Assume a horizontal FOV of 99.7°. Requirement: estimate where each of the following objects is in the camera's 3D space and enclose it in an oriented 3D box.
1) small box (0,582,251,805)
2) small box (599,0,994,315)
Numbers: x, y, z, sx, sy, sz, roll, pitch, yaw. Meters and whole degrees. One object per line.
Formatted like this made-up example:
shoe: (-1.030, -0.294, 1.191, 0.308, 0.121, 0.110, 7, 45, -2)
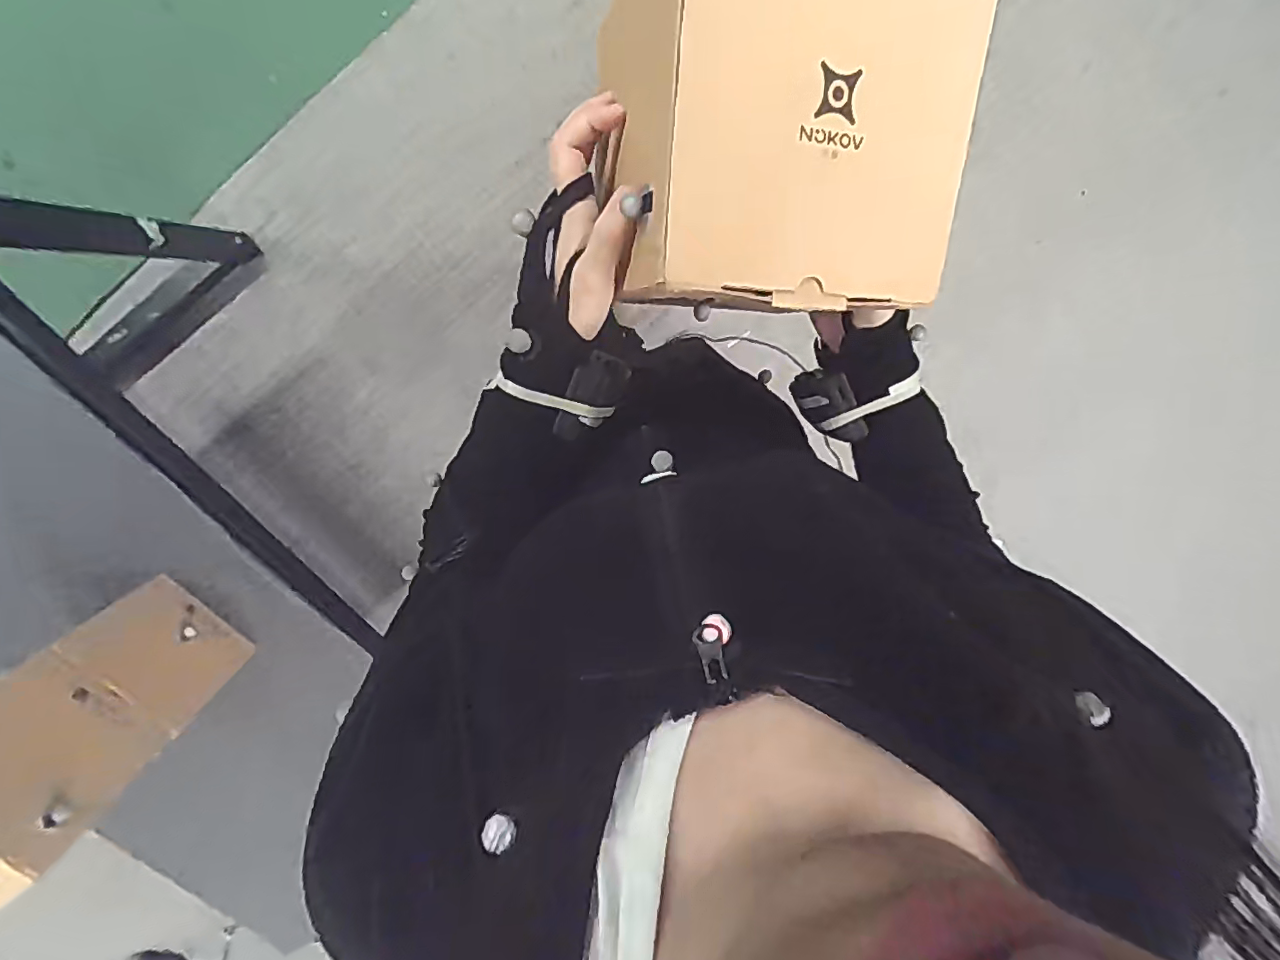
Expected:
small box: (-0.674, 0.270, 0.711, 0.179, 0.176, 0.168, -36, 109, 9)
small box: (0.072, -0.200, 0.337, 0.168, 0.176, 0.179, -2, 107, -17)
